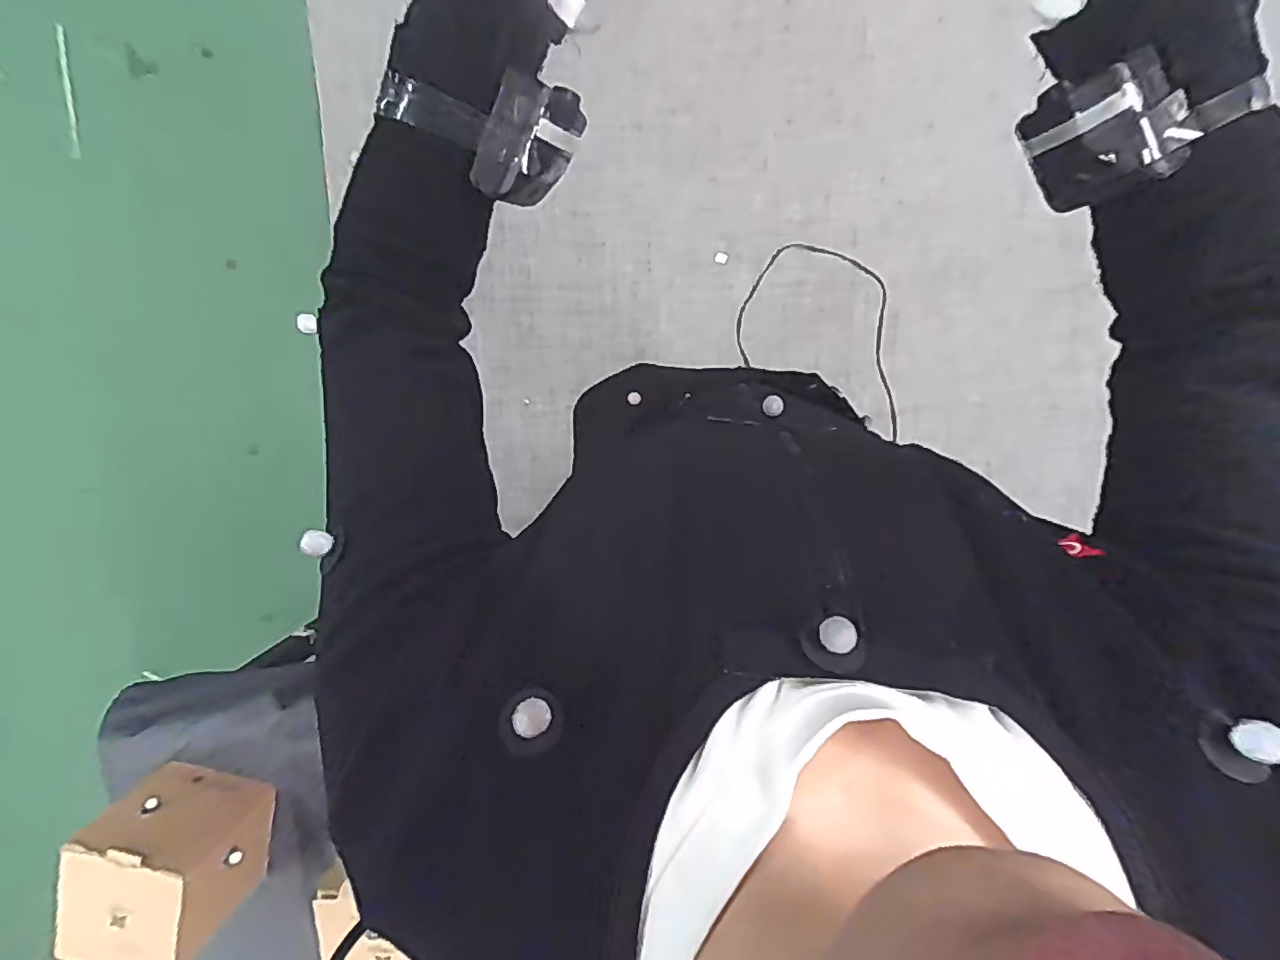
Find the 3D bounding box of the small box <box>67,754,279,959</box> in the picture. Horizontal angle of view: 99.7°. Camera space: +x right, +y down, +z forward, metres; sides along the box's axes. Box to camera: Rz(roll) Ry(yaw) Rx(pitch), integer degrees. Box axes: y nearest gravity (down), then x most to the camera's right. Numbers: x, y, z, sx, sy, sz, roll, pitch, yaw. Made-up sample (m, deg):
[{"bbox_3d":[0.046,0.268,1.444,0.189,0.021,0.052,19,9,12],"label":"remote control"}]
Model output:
[{"bbox_3d":[-0.661,0.537,0.784,0.168,0.176,0.179,13,102,2],"label":"small box"}]
